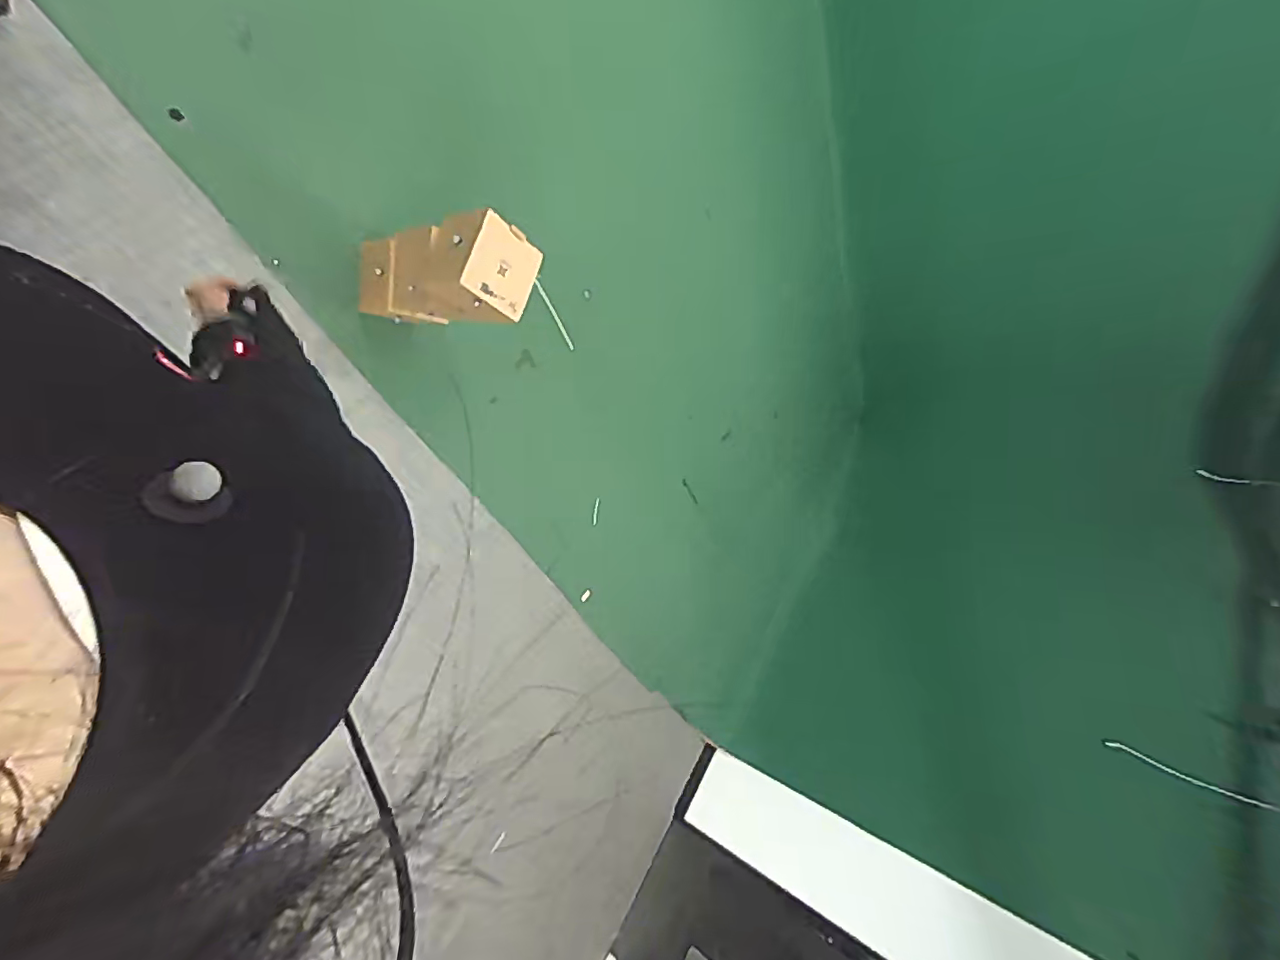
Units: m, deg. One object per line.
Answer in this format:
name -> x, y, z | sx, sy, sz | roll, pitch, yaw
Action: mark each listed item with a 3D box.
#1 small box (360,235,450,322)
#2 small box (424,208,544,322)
small box -> -0.611, -0.518, 1.410 | 0.168, 0.176, 0.179 | -4, 104, -51
small box -> -0.352, -0.473, 1.211 | 0.168, 0.176, 0.179 | 27, 80, -51
